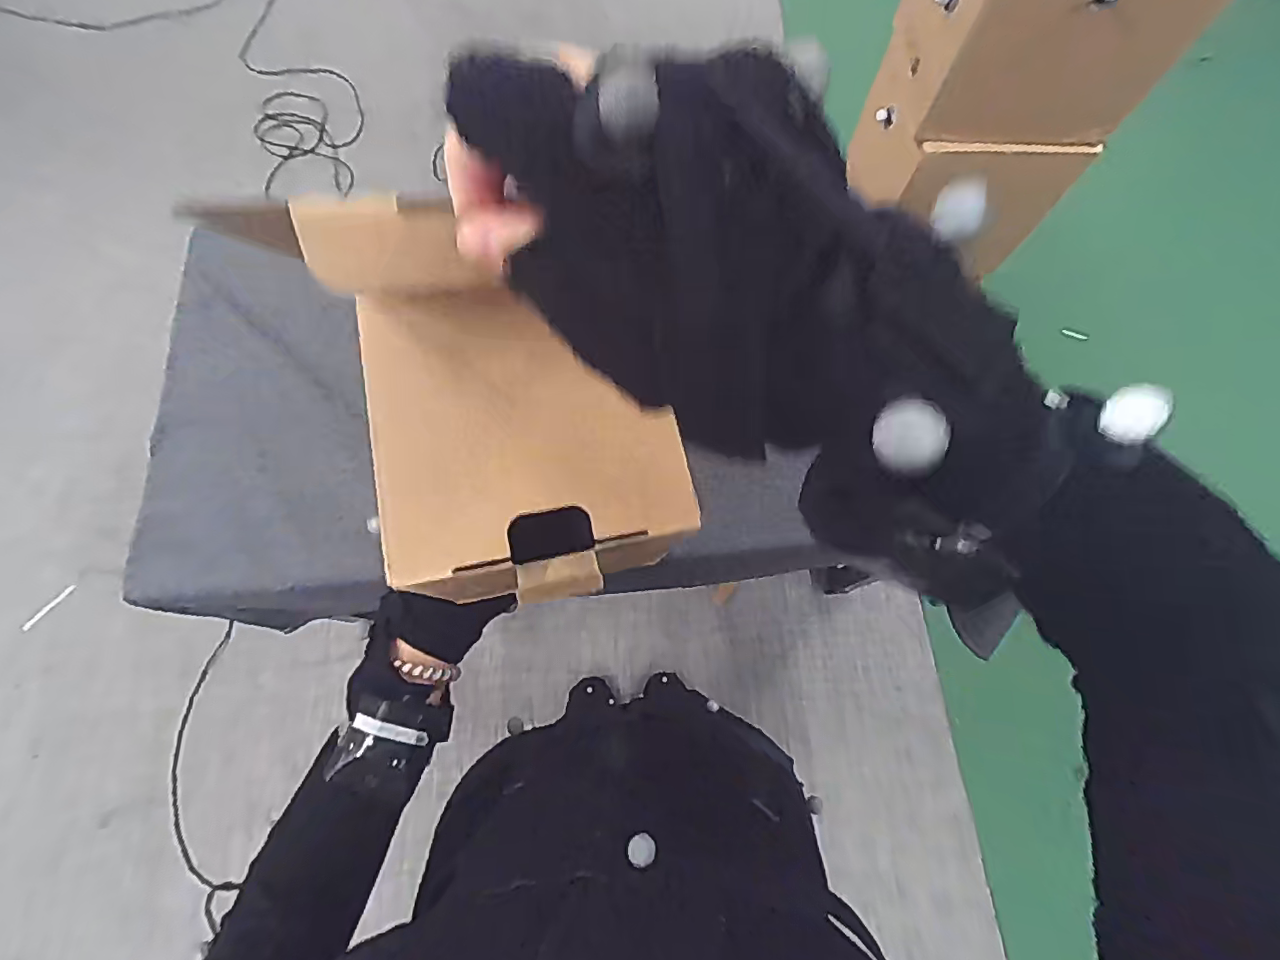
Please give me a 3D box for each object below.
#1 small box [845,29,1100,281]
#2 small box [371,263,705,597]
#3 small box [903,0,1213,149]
[{"bbox_3d":[0.340,-0.348,0.597,0.168,0.176,0.179,1,71,1],"label":"small box"},{"bbox_3d":[-0.069,-0.021,0.379,0.168,0.176,0.179,-10,78,-10],"label":"small box"},{"bbox_3d":[0.337,-0.405,0.444,0.179,0.176,0.168,3,71,1],"label":"small box"}]
